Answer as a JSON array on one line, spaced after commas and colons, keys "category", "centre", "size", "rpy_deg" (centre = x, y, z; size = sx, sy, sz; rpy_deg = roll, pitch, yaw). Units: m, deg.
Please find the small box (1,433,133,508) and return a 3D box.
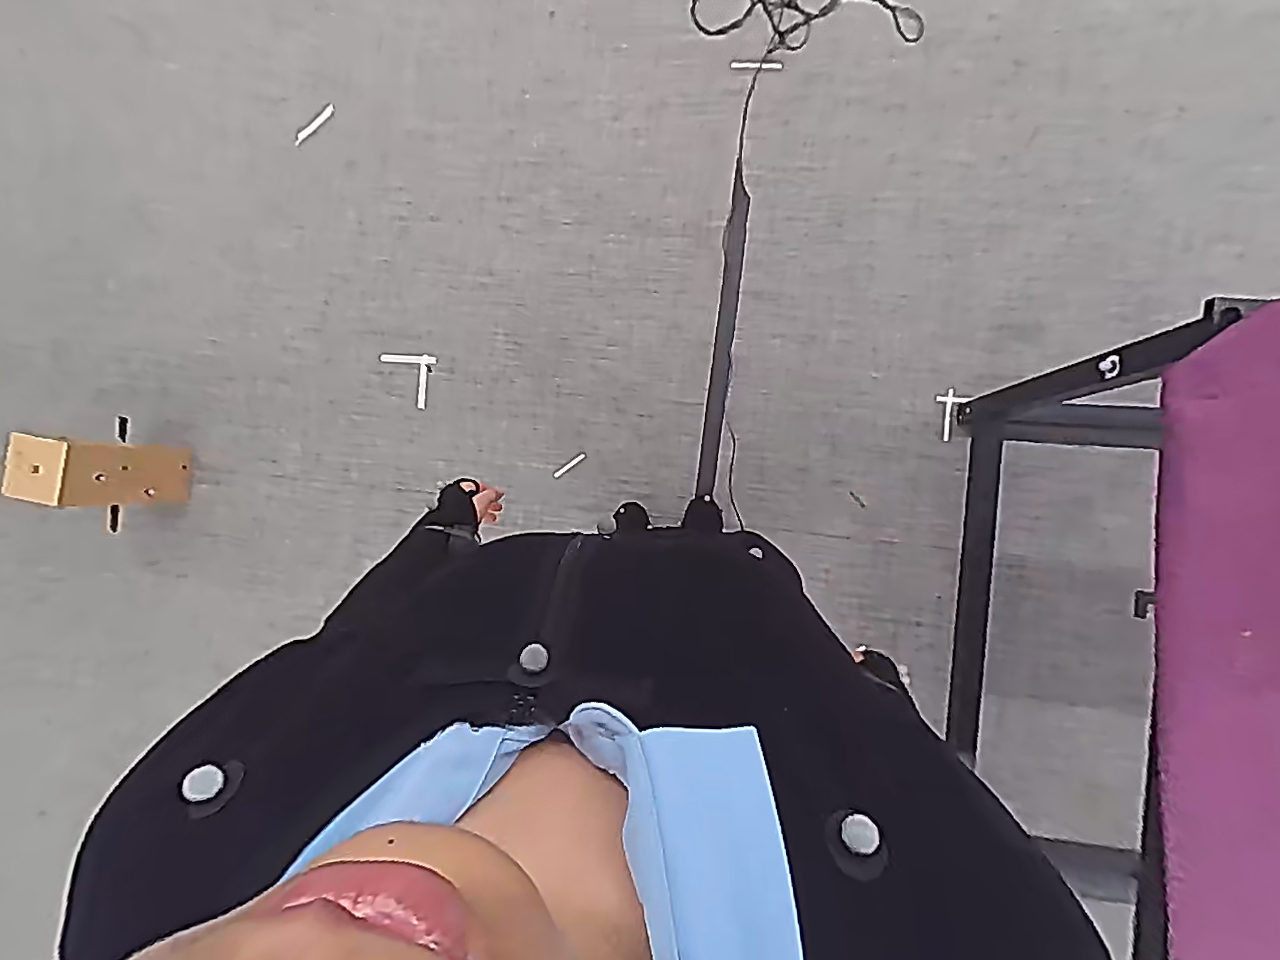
[{"category": "small box", "centre": [-1.519, -0.025, 1.444], "size": [0.179, 0.176, 0.168], "rpy_deg": [11, 90, 8]}]
